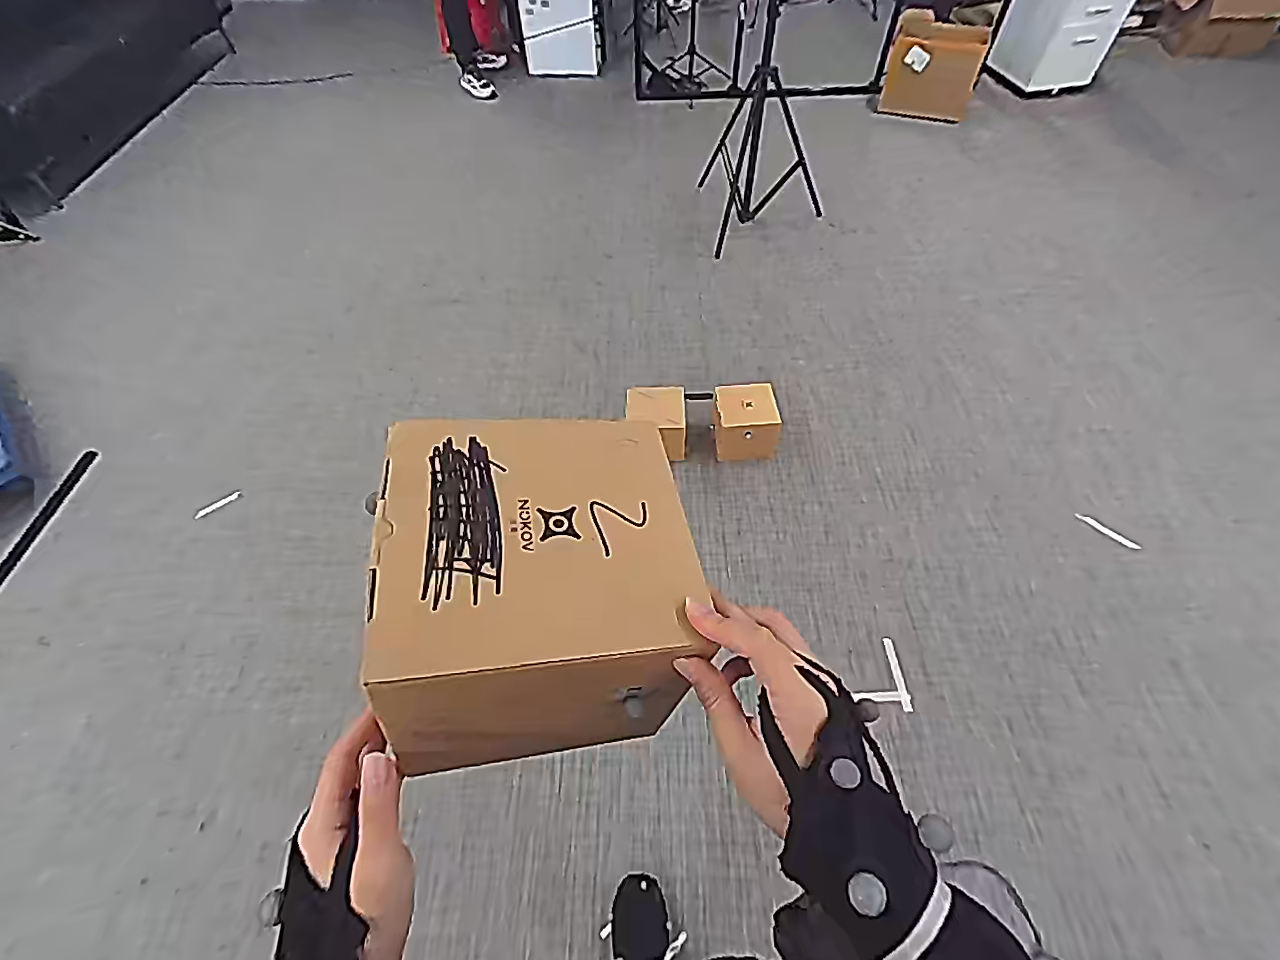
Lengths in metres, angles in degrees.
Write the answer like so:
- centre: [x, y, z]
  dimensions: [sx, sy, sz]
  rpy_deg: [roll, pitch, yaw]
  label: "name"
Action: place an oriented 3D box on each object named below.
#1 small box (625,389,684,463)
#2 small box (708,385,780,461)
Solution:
- centre: [0.047, -0.168, 1.680]
  dimensions: [0.179, 0.176, 0.168]
  rpy_deg: [0, 55, 1]
  label: "small box"
- centre: [0.316, -0.173, 1.681]
  dimensions: [0.179, 0.176, 0.168]
  rpy_deg: [-5, 55, -2]
  label: "small box"
